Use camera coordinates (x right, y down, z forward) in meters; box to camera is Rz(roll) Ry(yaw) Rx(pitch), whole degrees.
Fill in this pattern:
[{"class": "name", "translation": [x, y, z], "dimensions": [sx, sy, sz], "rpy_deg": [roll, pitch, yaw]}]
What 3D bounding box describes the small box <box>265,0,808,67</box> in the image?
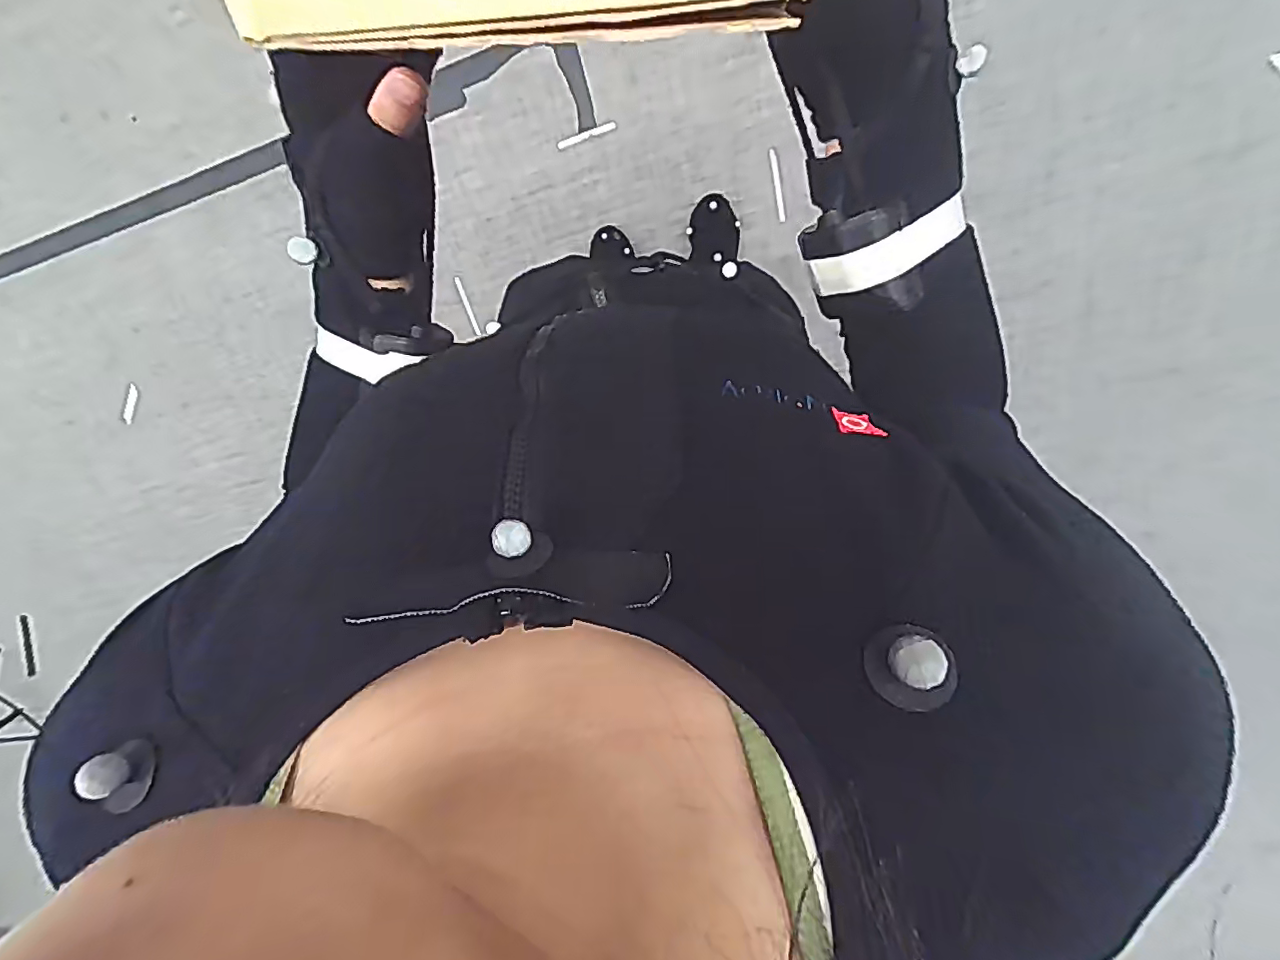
[{"class": "small box", "translation": [-0.040, -0.254, 0.167], "dimensions": [0.179, 0.168, 0.176], "rpy_deg": [-3, 134, 3]}]
